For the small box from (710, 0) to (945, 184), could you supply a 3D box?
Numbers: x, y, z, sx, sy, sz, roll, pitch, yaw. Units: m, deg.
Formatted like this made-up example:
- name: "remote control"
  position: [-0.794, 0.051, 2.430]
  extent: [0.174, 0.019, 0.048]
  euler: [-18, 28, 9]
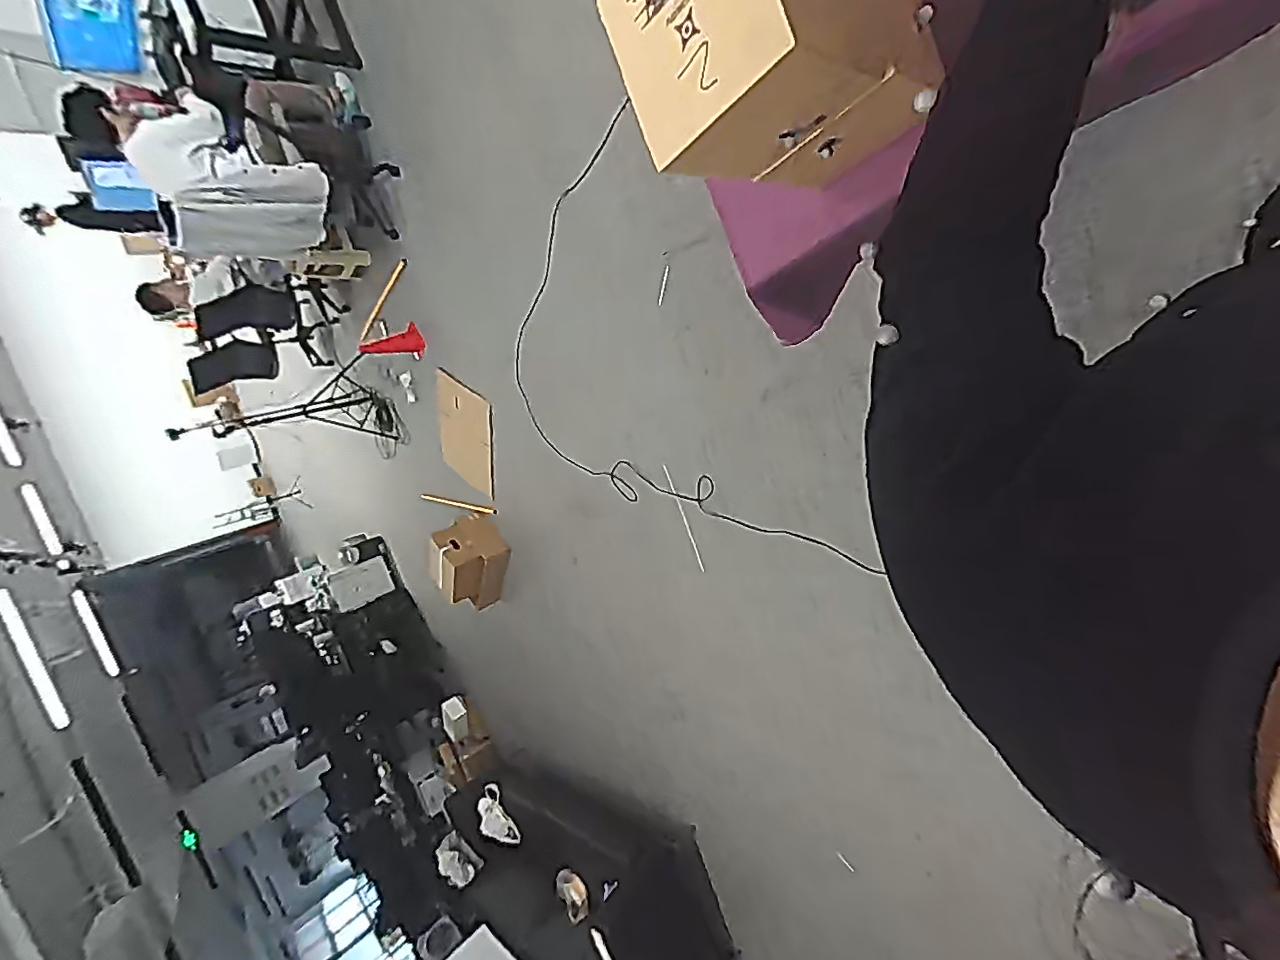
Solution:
- name: "small box"
  position: [0.219, -0.472, 0.633]
  extent: [0.179, 0.176, 0.168]
  euler: [-17, 96, 49]
